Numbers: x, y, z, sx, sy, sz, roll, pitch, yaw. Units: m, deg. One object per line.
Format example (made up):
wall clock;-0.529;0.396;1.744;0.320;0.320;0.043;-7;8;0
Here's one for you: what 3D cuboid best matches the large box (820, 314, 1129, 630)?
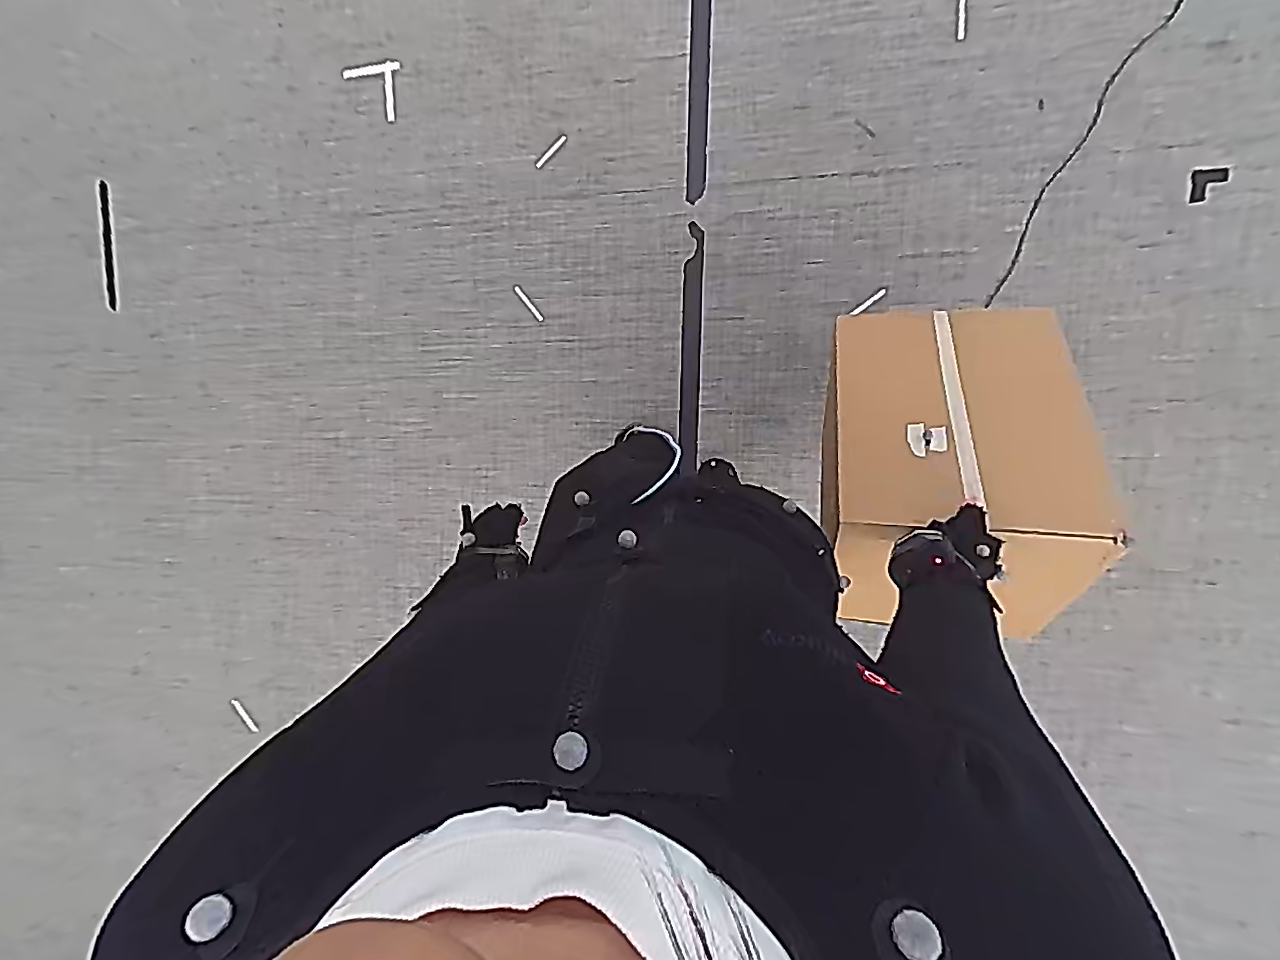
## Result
large box;0.468;-0.014;0.876;0.320;0.320;0.408;2;56;16
